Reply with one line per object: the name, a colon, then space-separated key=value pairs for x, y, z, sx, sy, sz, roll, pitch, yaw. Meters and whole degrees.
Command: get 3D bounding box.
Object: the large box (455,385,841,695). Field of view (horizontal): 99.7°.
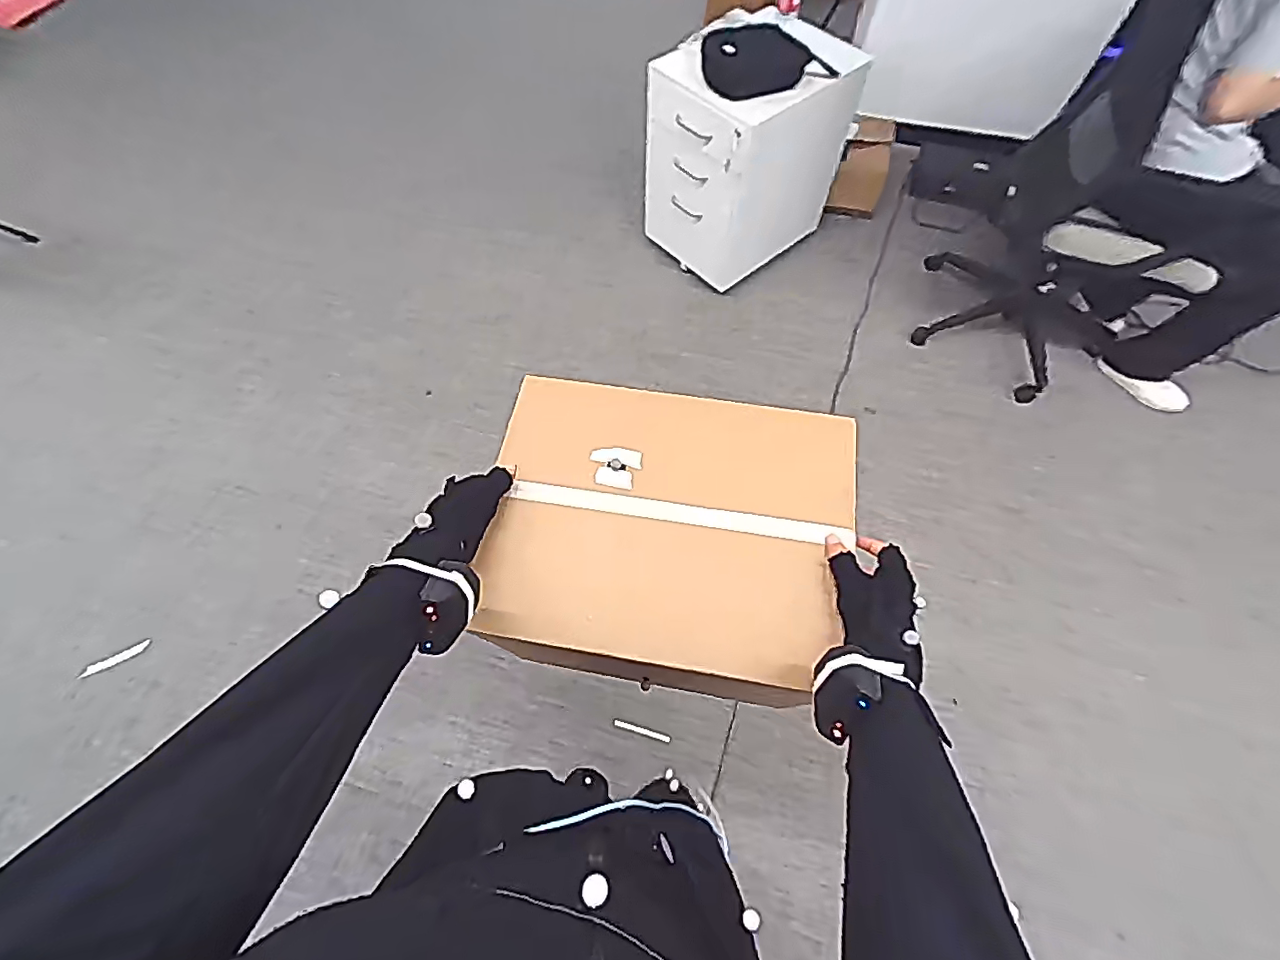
large box: x=0.031 y=0.100 z=0.742 sx=0.408 sy=0.320 sz=0.320 roll=8 pitch=66 yaw=7
